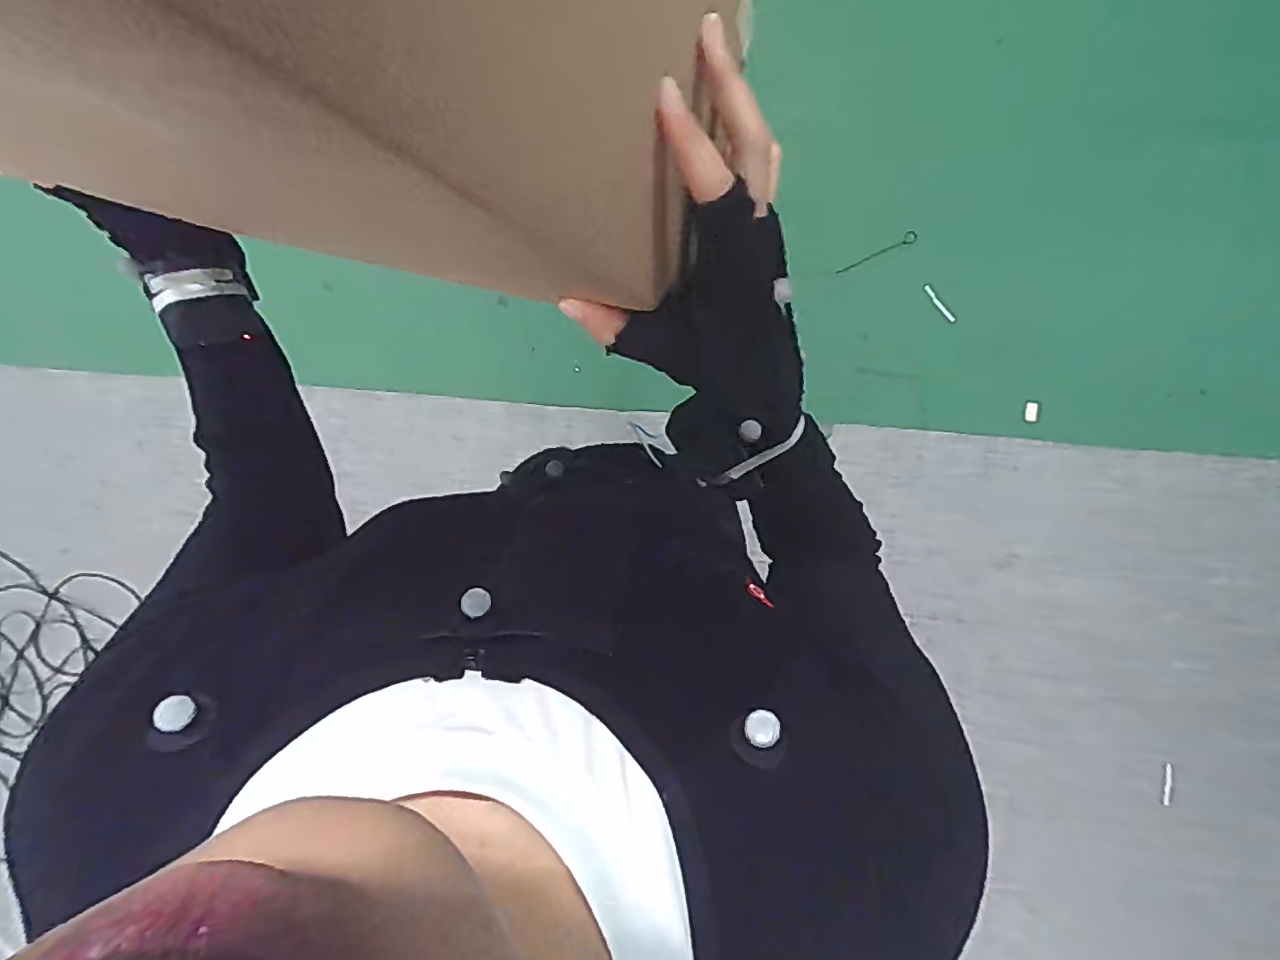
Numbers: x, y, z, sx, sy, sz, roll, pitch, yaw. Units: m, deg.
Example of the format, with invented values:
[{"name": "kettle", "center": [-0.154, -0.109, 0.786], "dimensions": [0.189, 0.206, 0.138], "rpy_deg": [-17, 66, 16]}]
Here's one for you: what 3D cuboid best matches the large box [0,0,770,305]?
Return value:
[{"name": "large box", "center": [-0.159, -0.281, 0.210], "dimensions": [0.408, 0.320, 0.320], "rpy_deg": [16, 102, 14]}]
